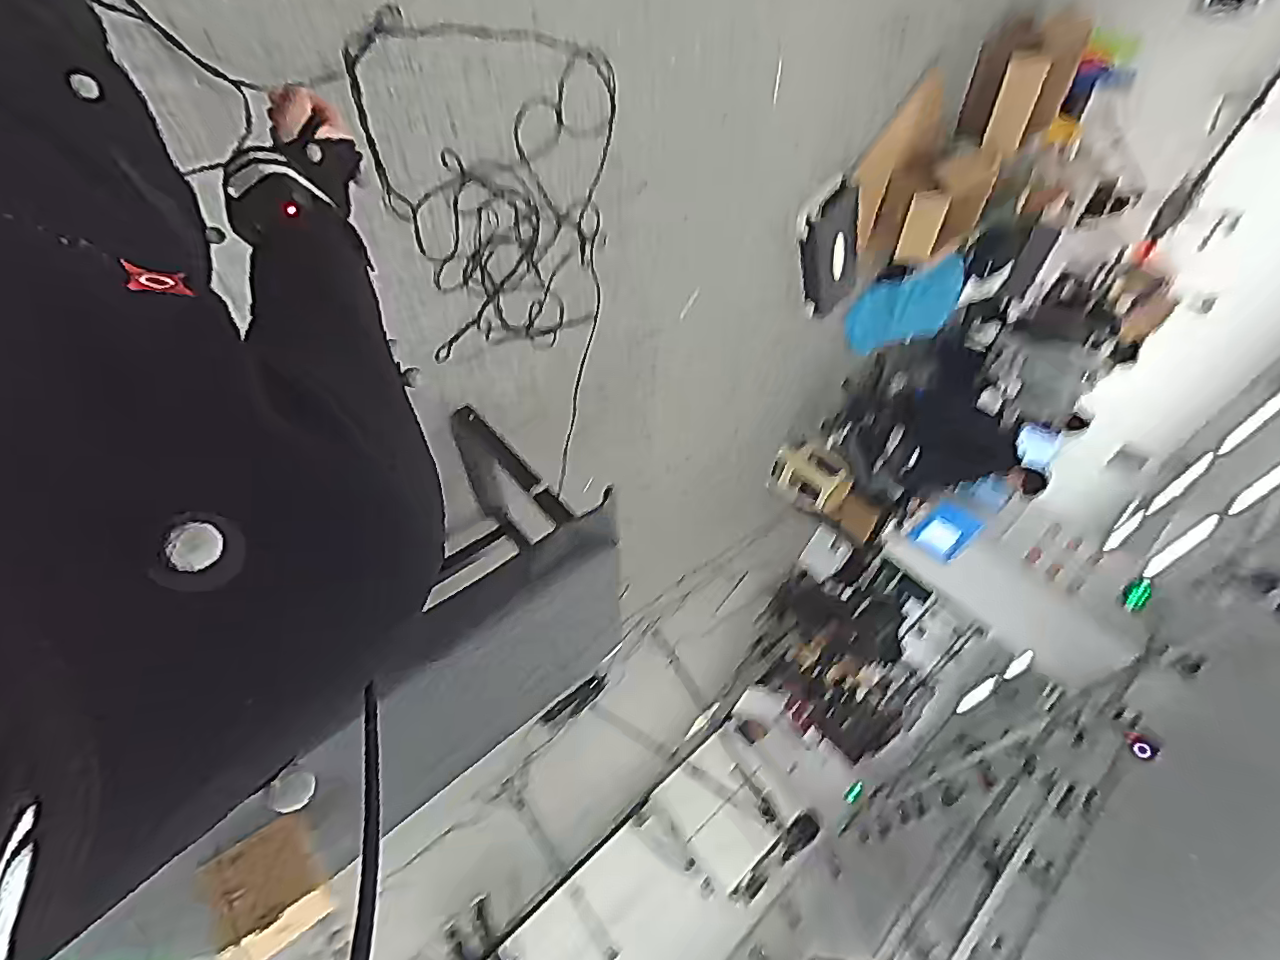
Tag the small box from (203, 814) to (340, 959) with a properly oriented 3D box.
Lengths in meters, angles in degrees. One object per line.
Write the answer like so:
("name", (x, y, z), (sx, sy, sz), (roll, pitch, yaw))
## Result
("small box", (-0.729, 0.807, 1.073), (0.168, 0.176, 0.179), (-24, 144, -34))
